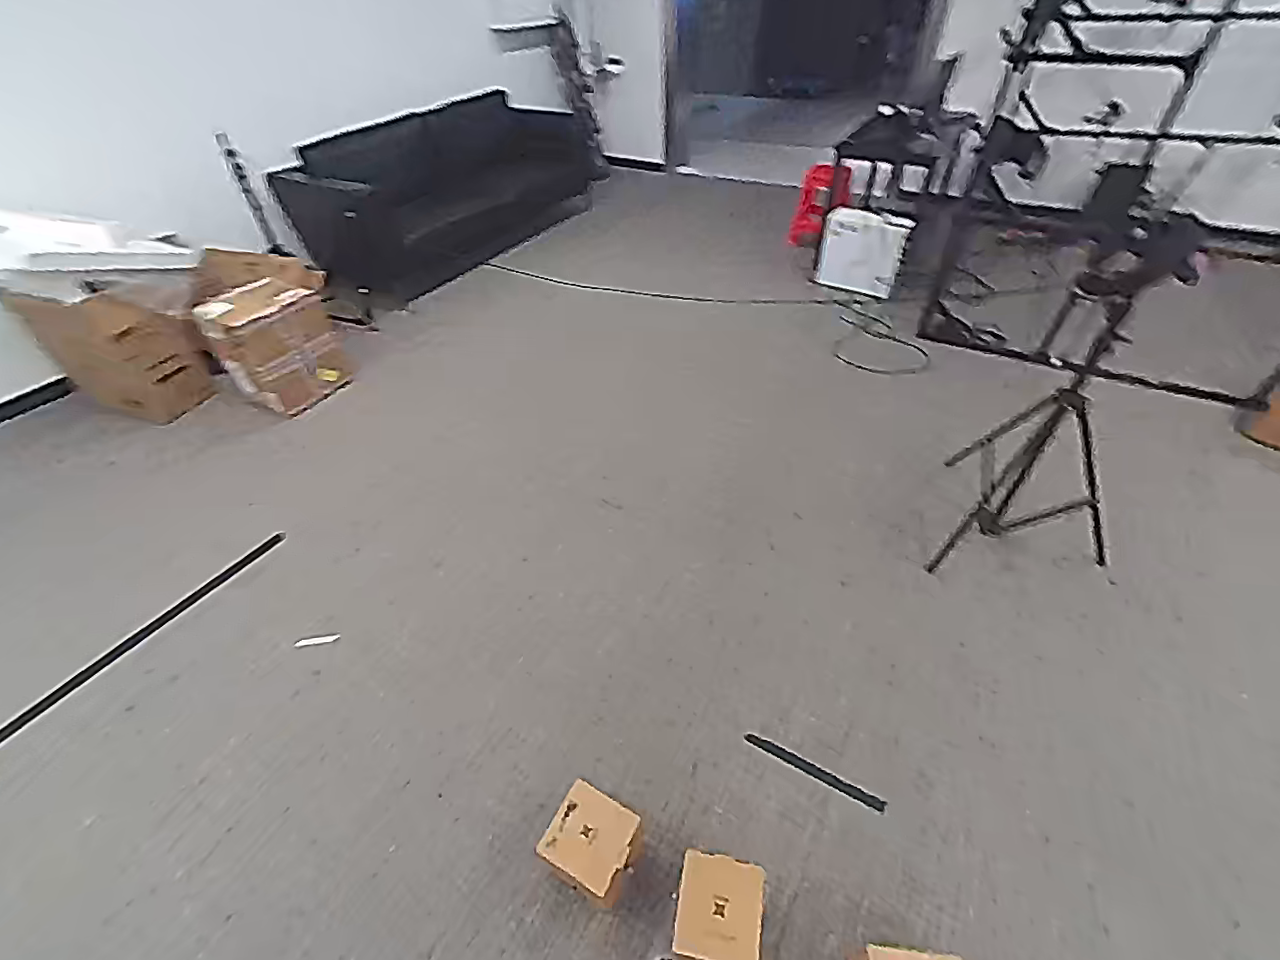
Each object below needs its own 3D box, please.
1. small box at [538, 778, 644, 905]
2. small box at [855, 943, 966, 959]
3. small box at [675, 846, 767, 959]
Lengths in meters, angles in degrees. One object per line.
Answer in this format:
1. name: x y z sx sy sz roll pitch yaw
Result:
1. small box: -0.101 0.823 1.226 0.179 0.176 0.168 20 48 23
2. small box: 0.510 0.992 1.006 0.179 0.176 0.168 3 44 5
3. small box: 0.167 0.902 1.125 0.168 0.176 0.179 6 45 12
